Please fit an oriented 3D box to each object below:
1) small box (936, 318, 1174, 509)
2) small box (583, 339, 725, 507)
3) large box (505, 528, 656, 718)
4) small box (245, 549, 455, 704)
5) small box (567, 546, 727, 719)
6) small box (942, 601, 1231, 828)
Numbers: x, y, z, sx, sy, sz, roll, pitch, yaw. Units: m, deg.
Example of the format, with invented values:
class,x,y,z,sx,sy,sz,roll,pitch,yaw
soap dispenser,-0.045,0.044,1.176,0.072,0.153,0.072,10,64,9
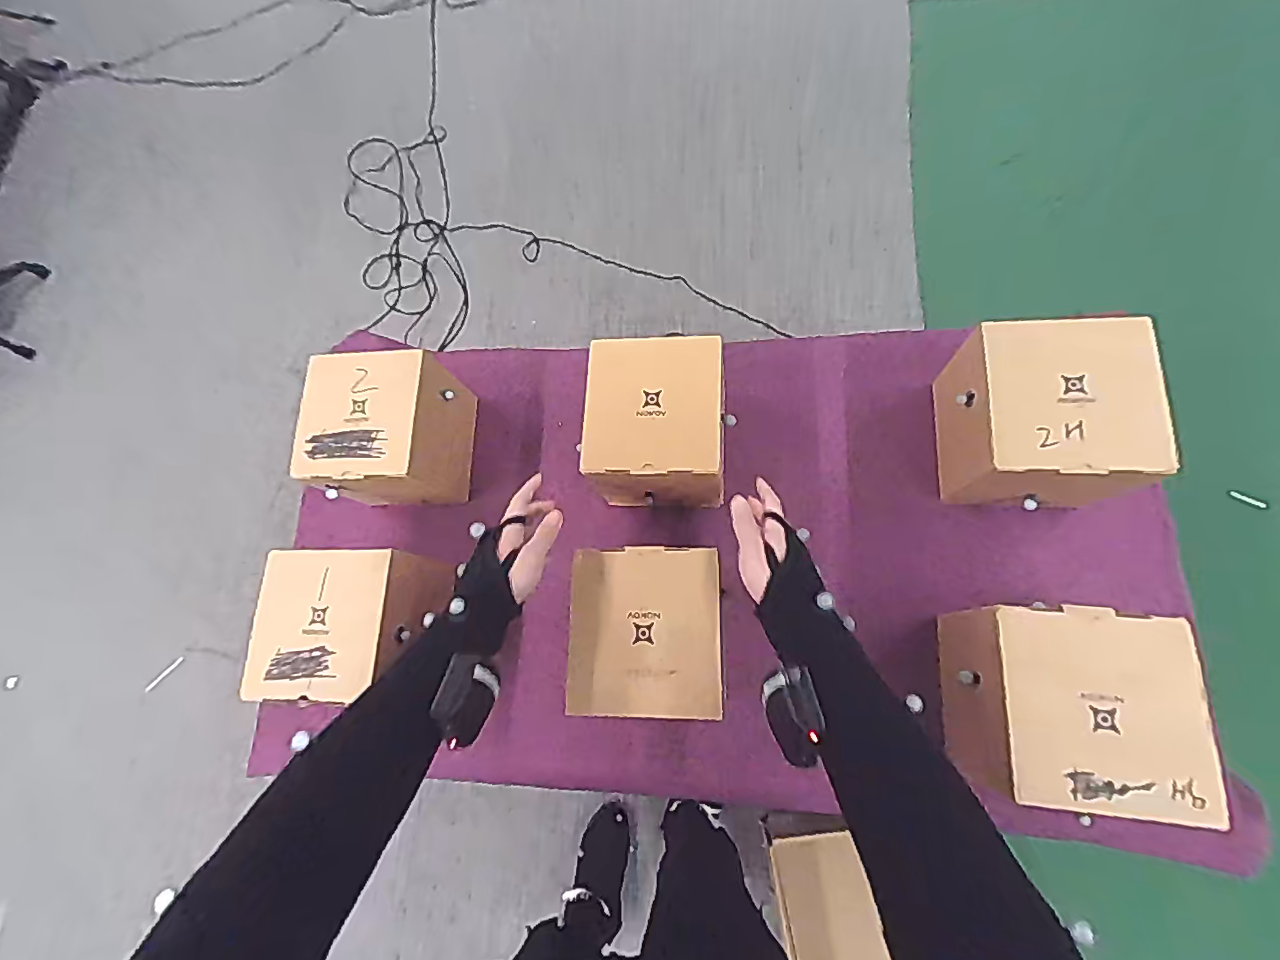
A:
class,x,y,z,sx,sy,sz,roll,pitch,yaw
small box,0.470,-0.071,0.647,0.168,0.176,0.179,1,75,12
small box,0.028,-0.069,0.725,0.168,0.176,0.179,1,75,9
large box,-0.113,0.350,1.321,0.320,0.320,0.408,-2,72,8
small box,-0.361,0.190,0.709,0.168,0.176,0.179,-1,72,8
small box,0.019,0.181,0.651,0.168,0.176,0.179,-2,73,10
small box,0.434,0.231,0.565,0.168,0.176,0.179,2,72,12
